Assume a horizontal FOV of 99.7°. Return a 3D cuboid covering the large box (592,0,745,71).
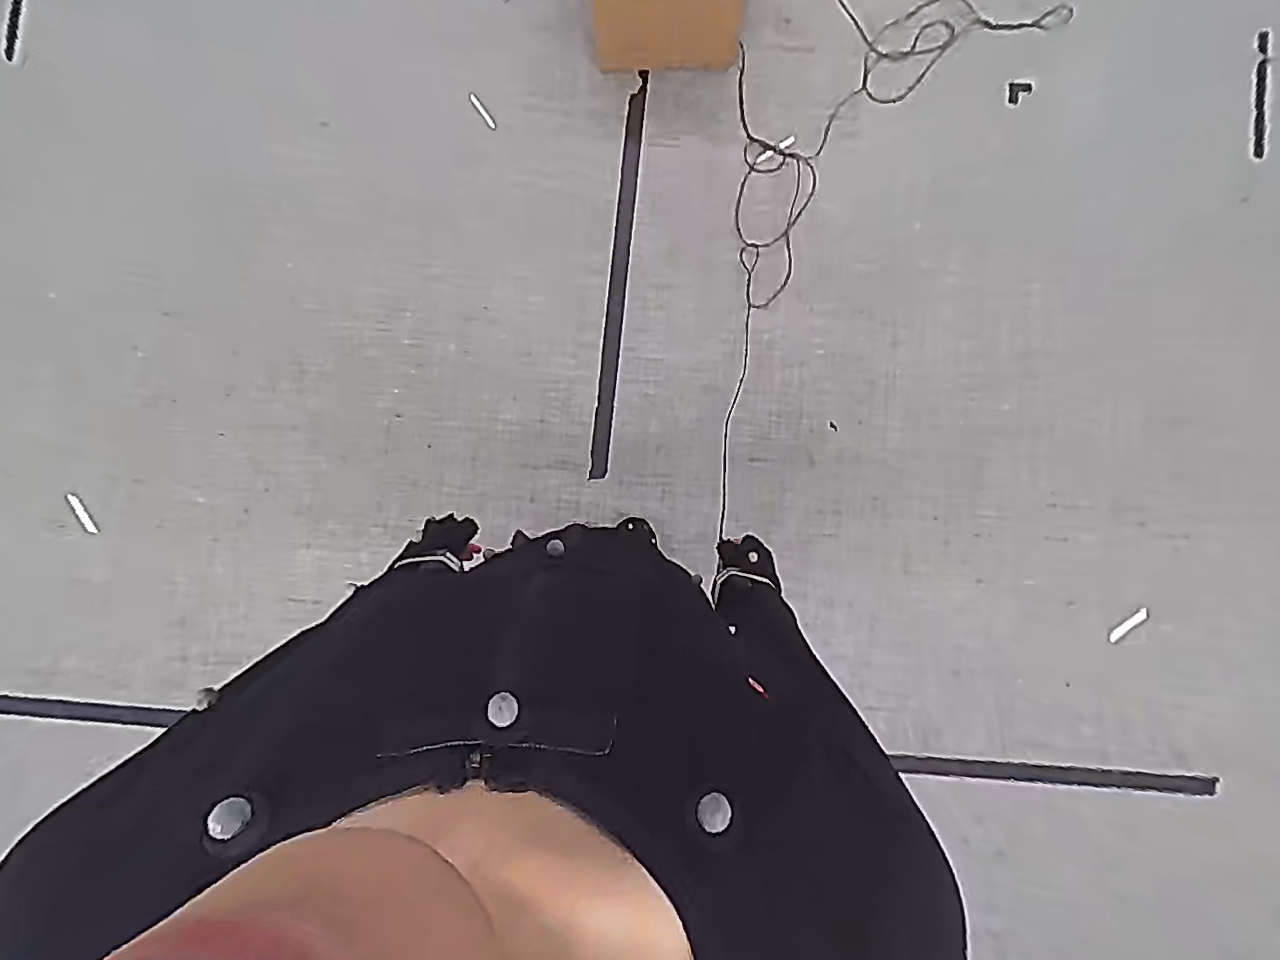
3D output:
[{"bbox_3d":[0.067,-1.381,1.465,0.408,0.320,0.320,-3,86,-2],"label":"large box"}]
